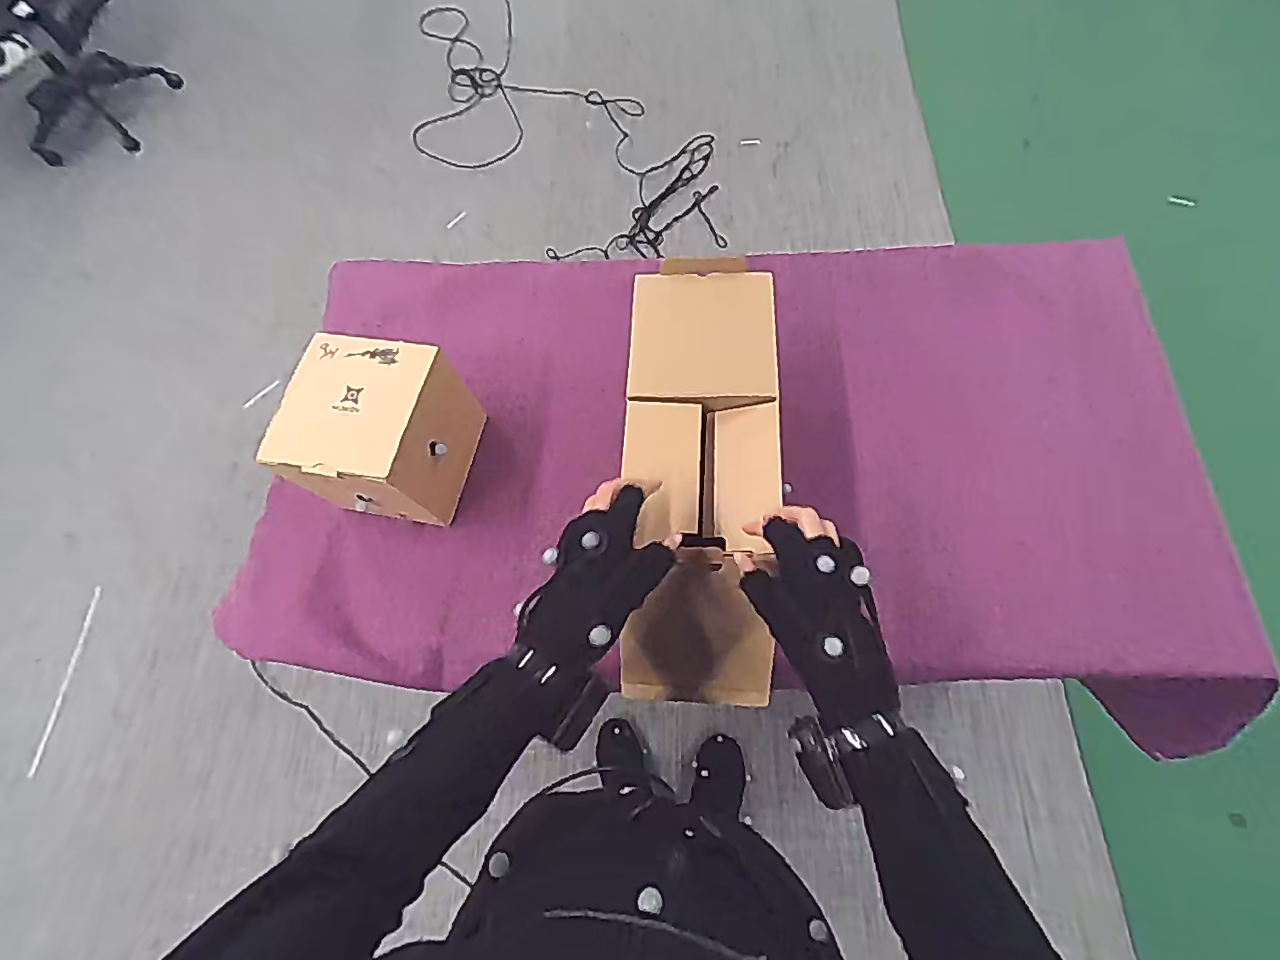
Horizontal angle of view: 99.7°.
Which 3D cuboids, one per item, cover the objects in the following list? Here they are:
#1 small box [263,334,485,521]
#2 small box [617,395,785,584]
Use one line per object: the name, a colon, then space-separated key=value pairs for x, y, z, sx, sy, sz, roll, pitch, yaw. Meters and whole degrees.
small box: x=-0.320 y=-0.059 z=0.694 sx=0.168 sy=0.176 sz=0.179 roll=9 pitch=70 yaw=9
small box: x=0.071 y=0.019 z=0.624 sx=0.168 sy=0.176 sz=0.179 roll=1 pitch=68 yaw=6
